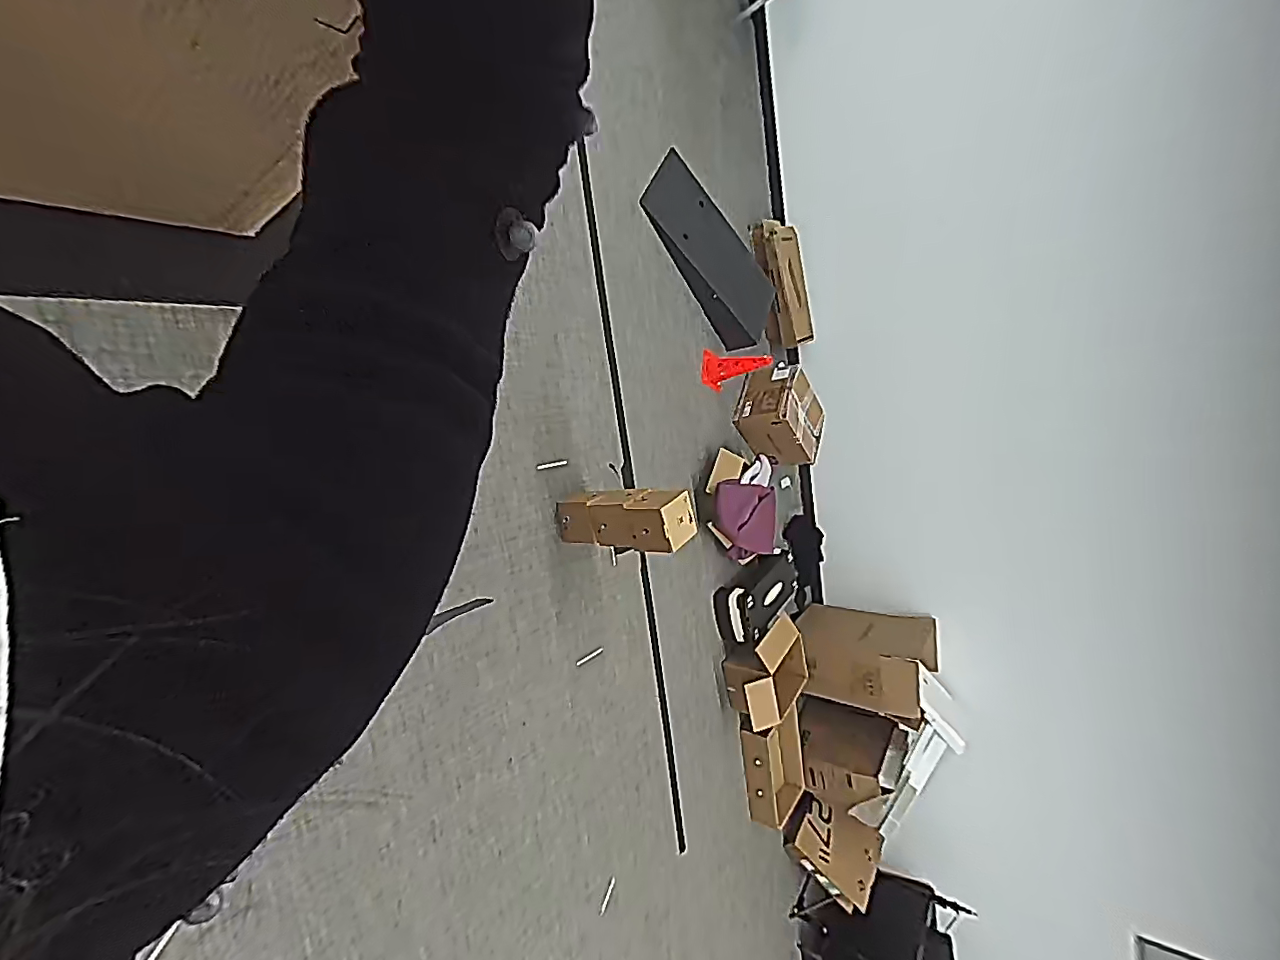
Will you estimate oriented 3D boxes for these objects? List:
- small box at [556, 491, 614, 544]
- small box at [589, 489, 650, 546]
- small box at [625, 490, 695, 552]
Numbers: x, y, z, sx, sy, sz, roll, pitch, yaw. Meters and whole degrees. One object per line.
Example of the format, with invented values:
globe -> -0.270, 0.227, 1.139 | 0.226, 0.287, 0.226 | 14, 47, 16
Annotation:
small box -> -0.199, 0.141, 2.101 | 0.179, 0.176, 0.168 | -21, 104, -49
small box -> -0.061, 0.136, 2.009 | 0.179, 0.176, 0.168 | -28, 109, -48
small box -> 0.066, 0.143, 1.905 | 0.179, 0.176, 0.168 | -31, 111, -48
